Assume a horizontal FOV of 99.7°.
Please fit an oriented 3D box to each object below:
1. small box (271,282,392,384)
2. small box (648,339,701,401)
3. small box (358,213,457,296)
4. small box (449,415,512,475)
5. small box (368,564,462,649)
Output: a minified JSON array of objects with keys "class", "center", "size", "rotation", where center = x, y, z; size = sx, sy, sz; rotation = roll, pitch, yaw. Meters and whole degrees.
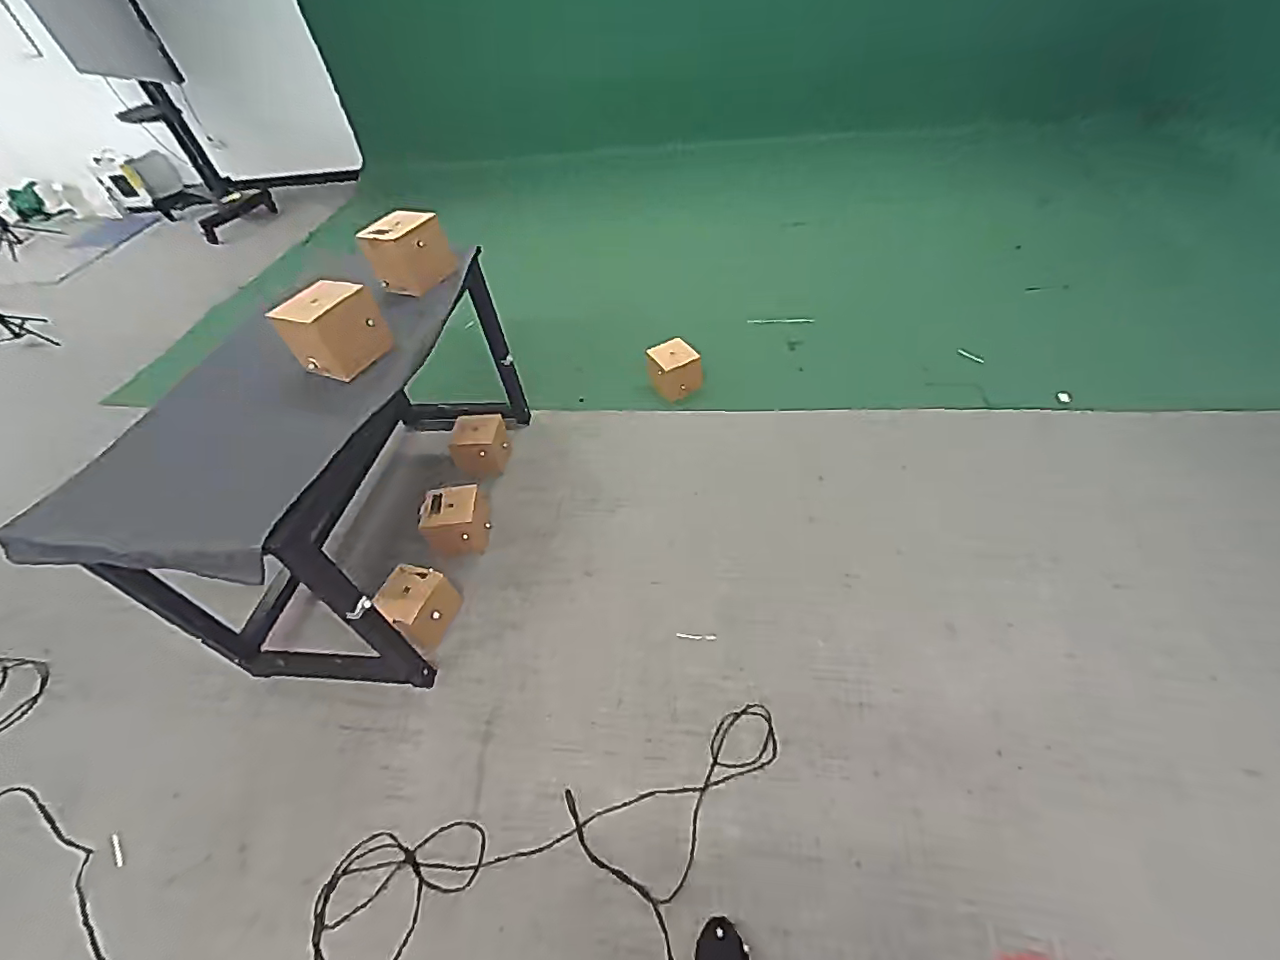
[{"class":"small box","center":[-0.751,-0.367,1.345],"size":[0.168,0.176,0.179],"rotation":[15,53,24]},{"class":"small box","center":[0.147,-0.465,2.294],"size":[0.168,0.176,0.179],"rotation":[-26,50,-15]},{"class":"small box","center":[-0.676,-0.664,1.596],"size":[0.168,0.176,0.179],"rotation":[16,53,24]},{"class":"small box","center":[-0.611,-0.133,2.098],"size":[0.179,0.176,0.168],"rotation":[-3,47,6]},{"class":"small box","center":[-0.671,0.386,1.640],"size":[0.168,0.176,0.179],"rotation":[11,51,17]}]
